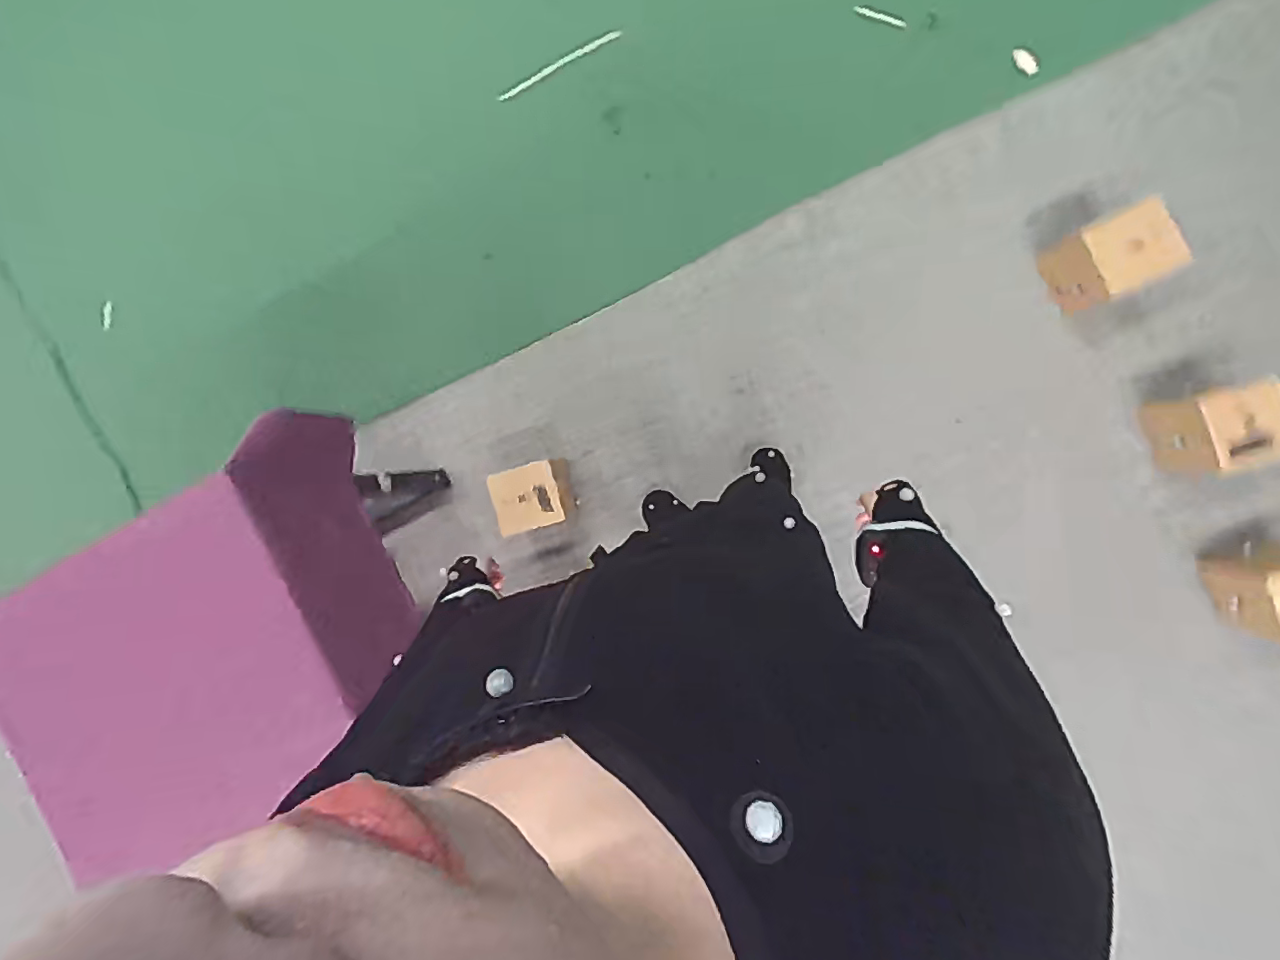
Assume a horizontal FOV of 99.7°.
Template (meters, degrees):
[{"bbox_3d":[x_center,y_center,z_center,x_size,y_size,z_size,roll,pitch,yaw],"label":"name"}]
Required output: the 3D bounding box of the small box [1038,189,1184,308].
[{"bbox_3d":[1.081,-0.529,1.265,0.179,0.176,0.168,-27,90,7],"label":"small box"}]

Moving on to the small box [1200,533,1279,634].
[{"bbox_3d":[1.468,0.236,1.249,0.179,0.176,0.168,-23,90,8],"label":"small box"}]

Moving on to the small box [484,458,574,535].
[{"bbox_3d":[-0.289,0.039,1.462,0.179,0.176,0.168,-16,90,8],"label":"small box"}]
